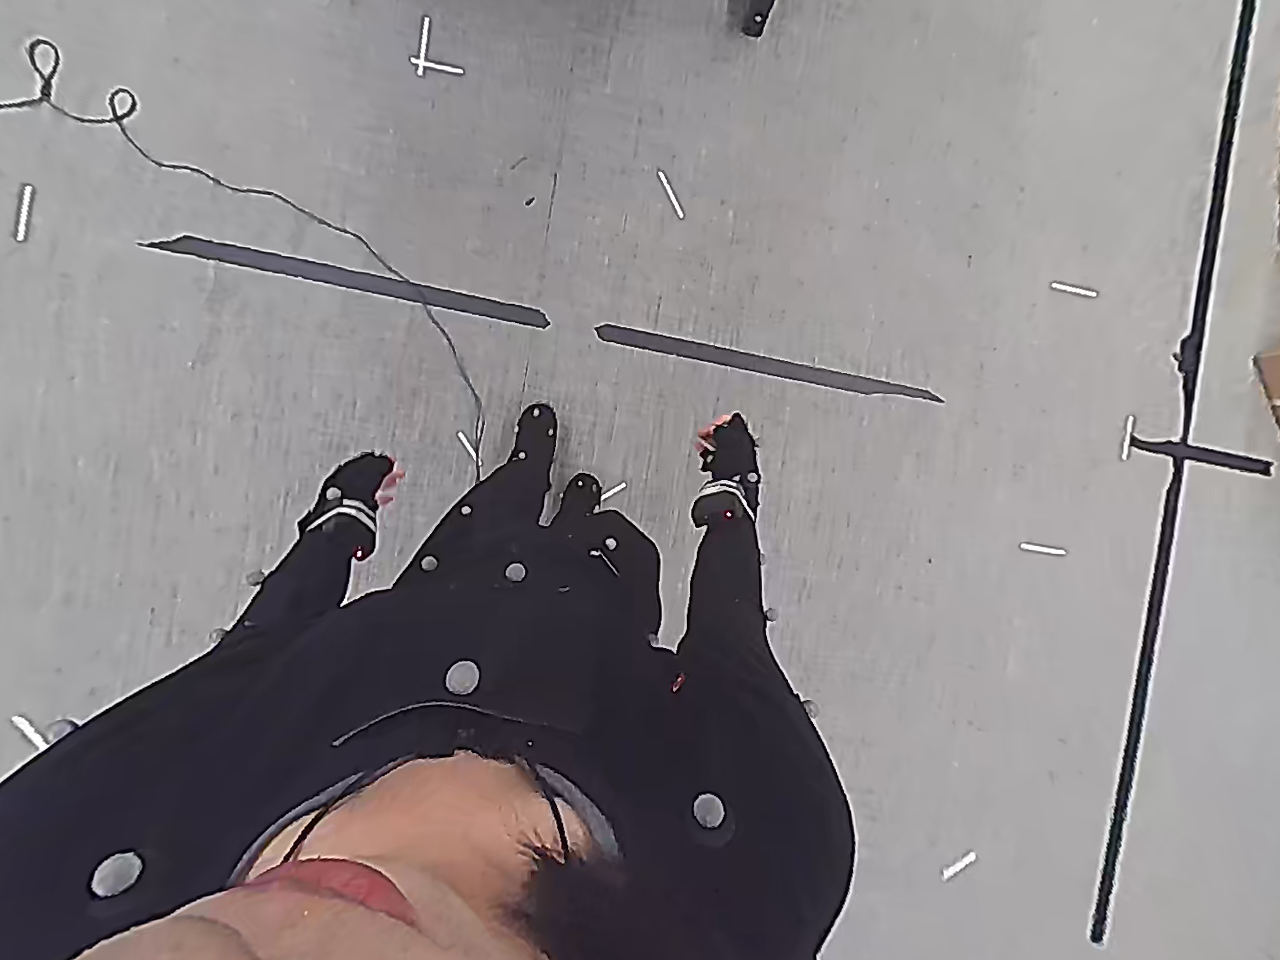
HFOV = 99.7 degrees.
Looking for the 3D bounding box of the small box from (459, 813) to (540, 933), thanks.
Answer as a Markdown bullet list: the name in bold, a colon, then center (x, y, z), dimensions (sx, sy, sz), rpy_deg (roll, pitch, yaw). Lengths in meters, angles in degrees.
- **small box**: center (-0.362, 1.025, 1.424), dimensions (0.168, 0.176, 0.179), rpy_deg (-10, 91, -6)
